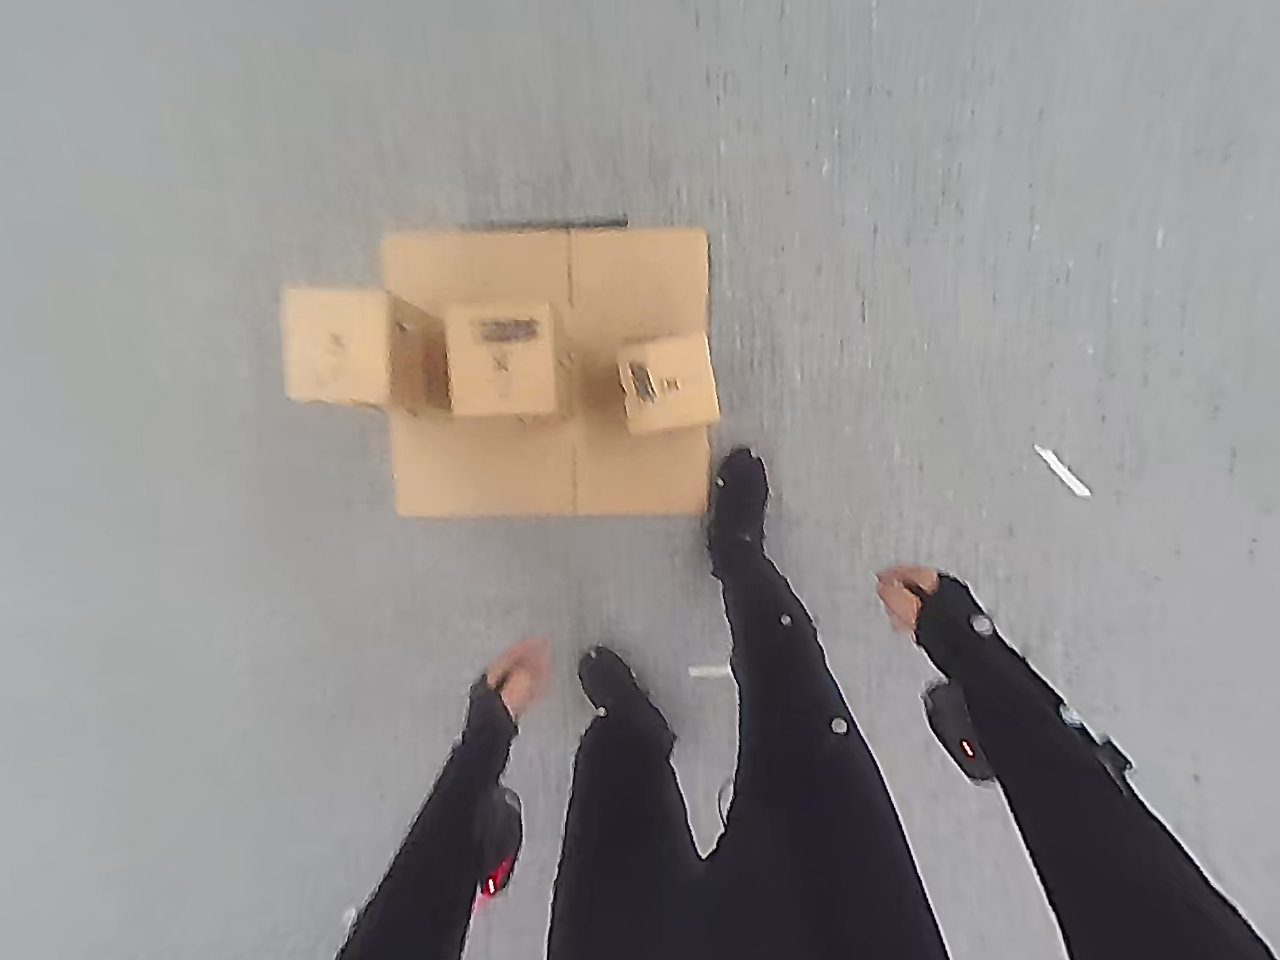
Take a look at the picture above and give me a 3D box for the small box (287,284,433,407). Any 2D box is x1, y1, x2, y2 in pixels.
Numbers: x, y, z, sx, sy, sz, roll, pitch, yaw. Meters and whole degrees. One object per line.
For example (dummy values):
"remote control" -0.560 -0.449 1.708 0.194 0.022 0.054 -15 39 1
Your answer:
"small box" -0.466 -0.220 0.922 0.168 0.176 0.179 2 95 1

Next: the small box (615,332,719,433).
"small box" 0.054 -0.186 1.083 0.179 0.176 0.168 -9 95 1

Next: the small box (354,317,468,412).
"small box" -0.454 -0.227 1.087 0.168 0.176 0.179 2 96 1

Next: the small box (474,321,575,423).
"small box" -0.224 -0.209 1.085 0.168 0.176 0.179 3 95 1
